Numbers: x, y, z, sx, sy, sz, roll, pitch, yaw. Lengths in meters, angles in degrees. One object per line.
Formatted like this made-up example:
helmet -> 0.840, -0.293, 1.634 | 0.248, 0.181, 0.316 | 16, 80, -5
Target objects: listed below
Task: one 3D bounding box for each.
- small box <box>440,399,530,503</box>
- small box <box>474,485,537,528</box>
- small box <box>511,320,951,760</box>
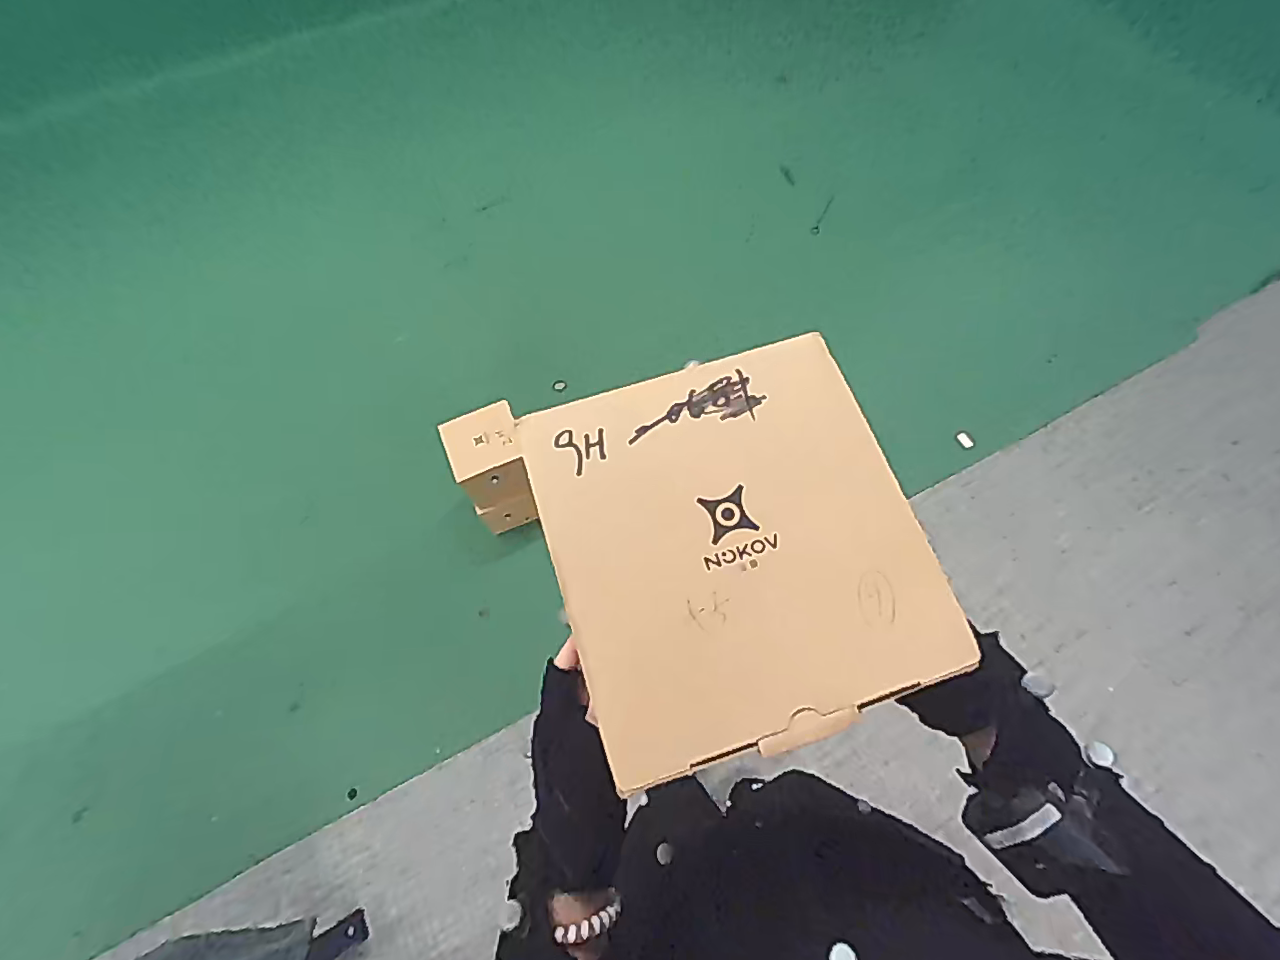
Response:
small box -> -0.362, -0.066, 1.334 | 0.179, 0.176, 0.168 | -22, 67, -9
small box -> -0.361, 0.014, 1.478 | 0.168, 0.176, 0.179 | -22, 66, -8
small box -> 0.036, 0.039, 0.329 | 0.168, 0.176, 0.179 | -16, 73, -6
